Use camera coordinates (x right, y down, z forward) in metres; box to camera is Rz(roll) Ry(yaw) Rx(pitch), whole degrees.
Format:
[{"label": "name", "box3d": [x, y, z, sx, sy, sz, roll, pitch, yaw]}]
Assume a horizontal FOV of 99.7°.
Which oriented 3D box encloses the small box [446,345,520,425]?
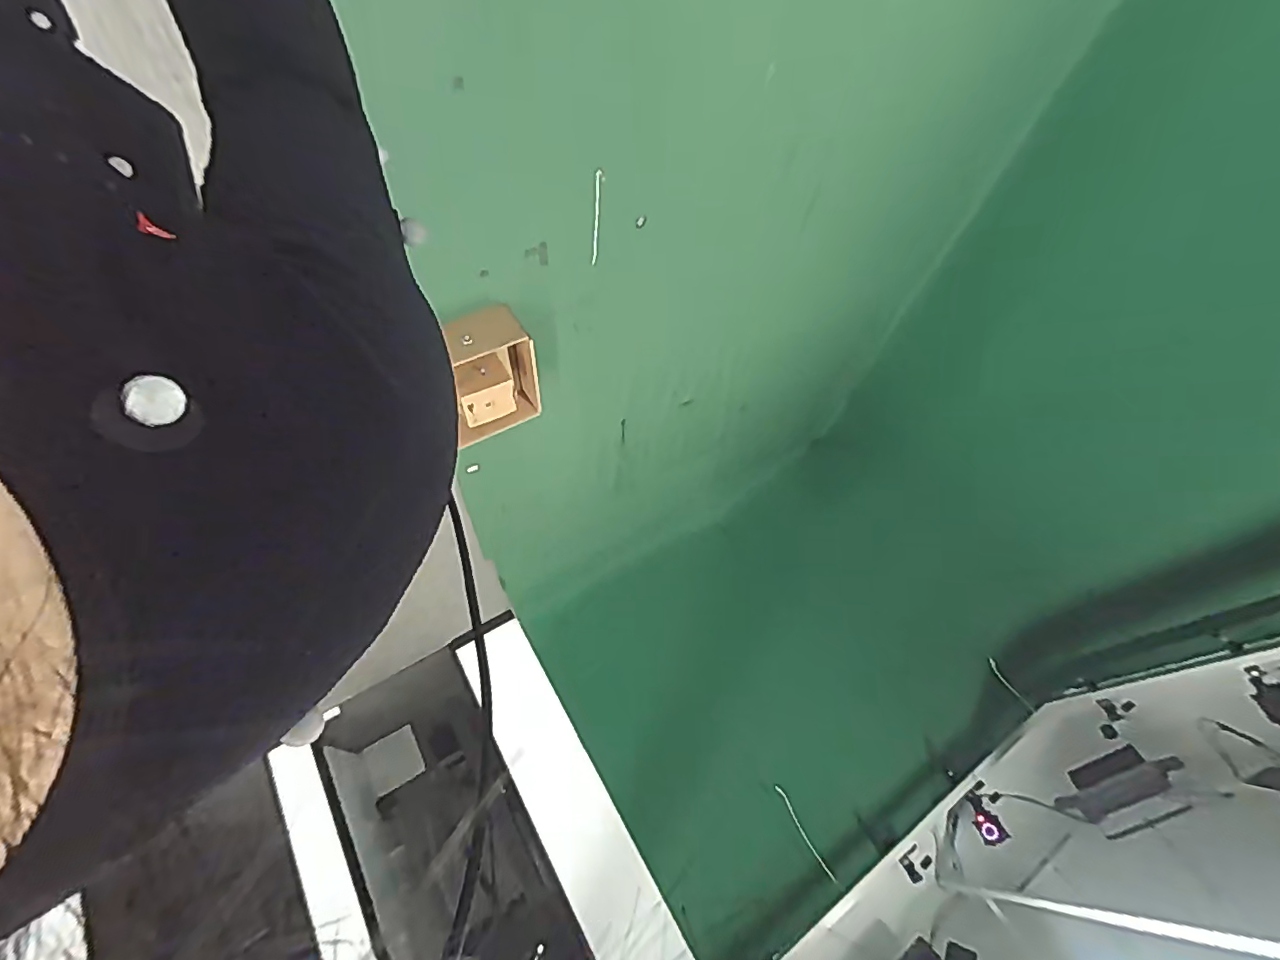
[{"label": "small box", "box3d": [-0.520, -0.322, 1.806, 0.179, 0.176, 0.168, -26, 156, -19]}]
